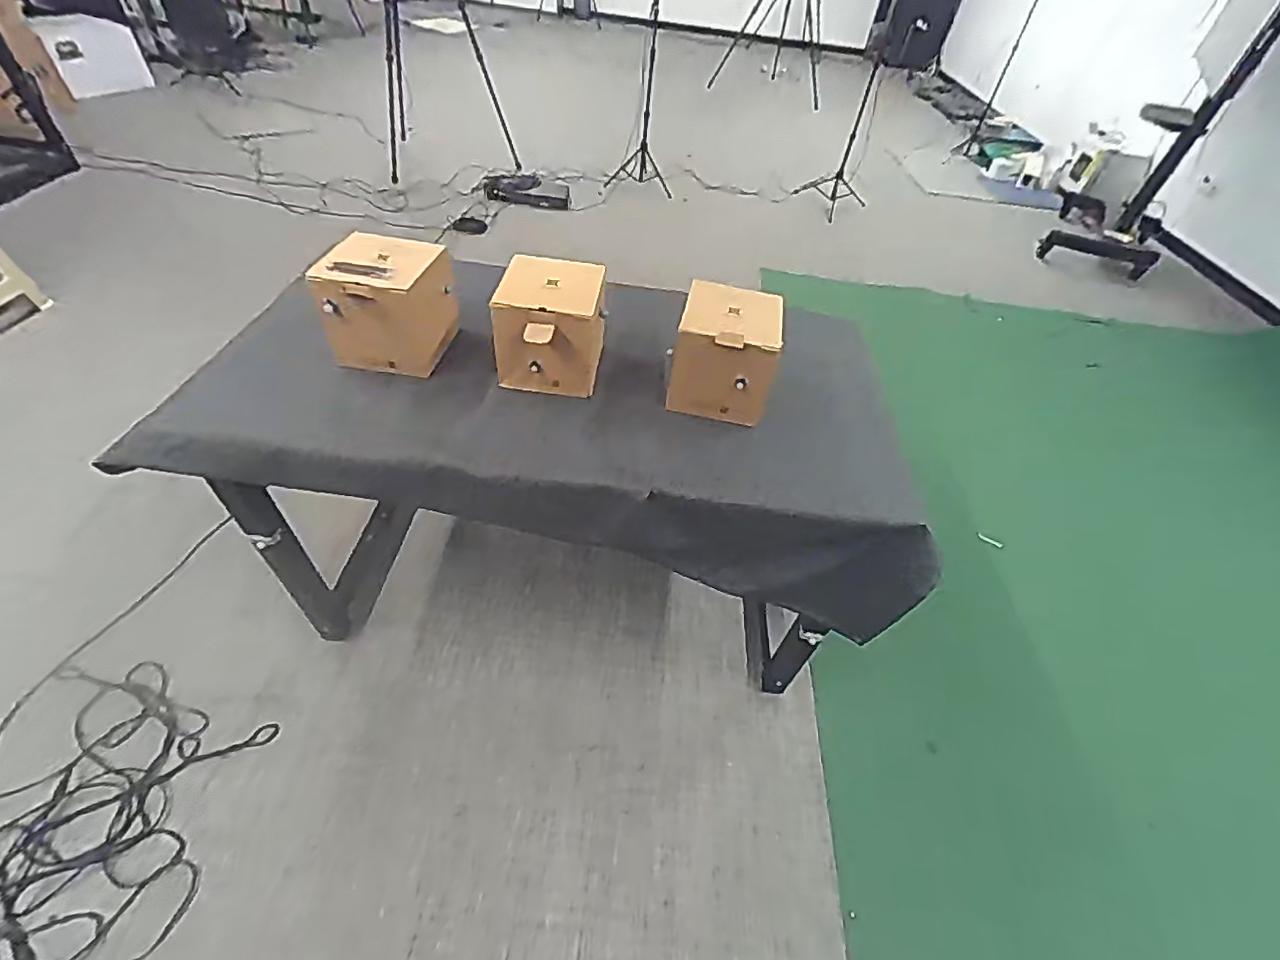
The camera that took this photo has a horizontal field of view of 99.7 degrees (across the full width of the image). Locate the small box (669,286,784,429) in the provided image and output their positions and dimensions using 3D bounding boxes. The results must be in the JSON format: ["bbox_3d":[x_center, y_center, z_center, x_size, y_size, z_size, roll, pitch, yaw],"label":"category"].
[{"bbox_3d":[0.151,-0.215,0.963,0.168,0.176,0.179,13,46,3],"label":"small box"}]

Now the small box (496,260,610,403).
[{"bbox_3d":[-0.151,-0.265,0.969,0.168,0.176,0.179,7,47,-1],"label":"small box"}]
